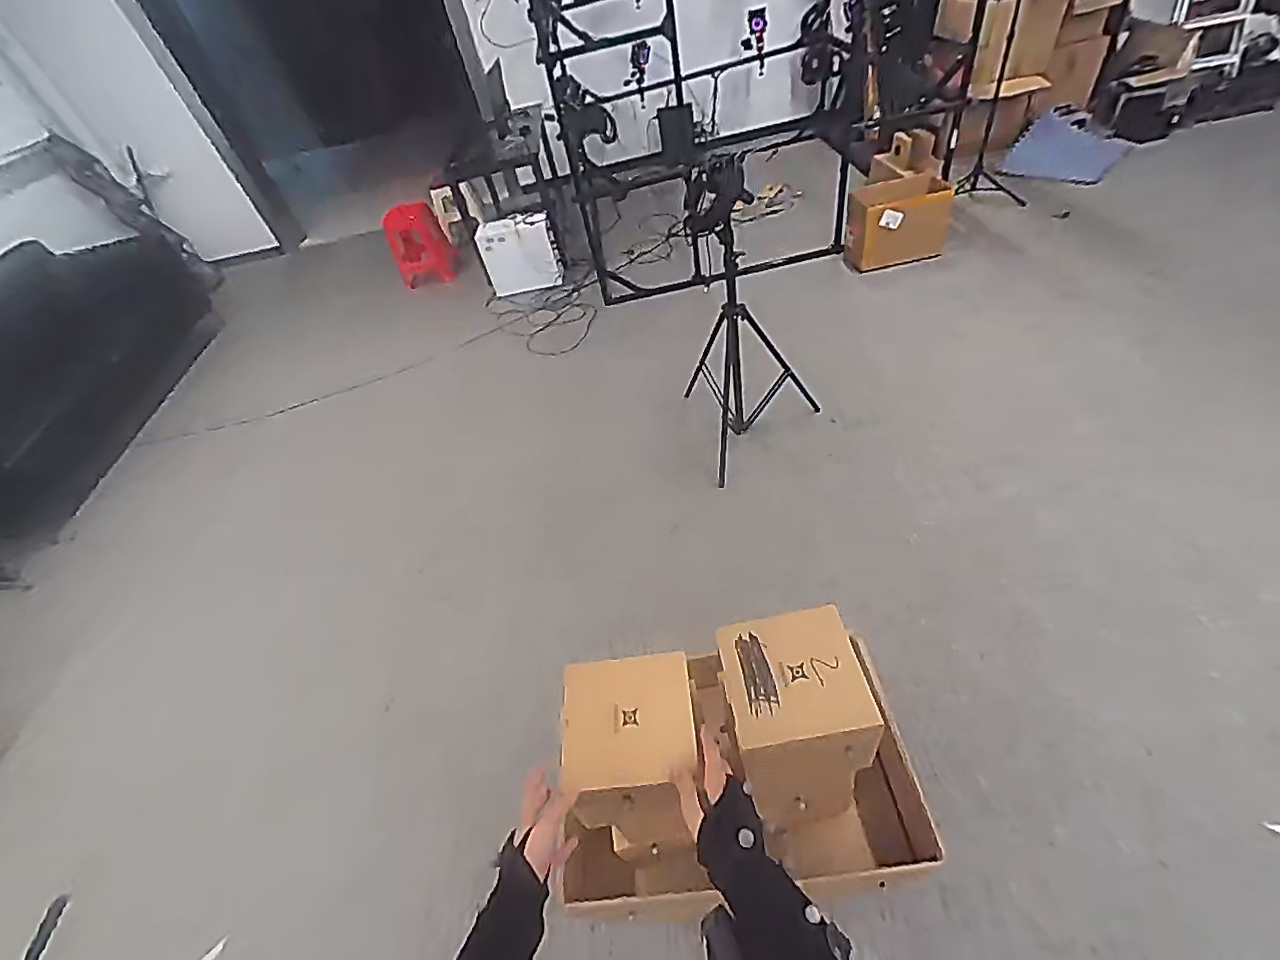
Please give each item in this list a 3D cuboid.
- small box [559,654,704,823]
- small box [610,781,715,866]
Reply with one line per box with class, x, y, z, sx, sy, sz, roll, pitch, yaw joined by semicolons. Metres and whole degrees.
small box;-0.006;0.365;0.759;0.179;0.176;0.168;-9;46;4
small box;0.035;0.580;0.999;0.168;0.176;0.179;-14;45;1
